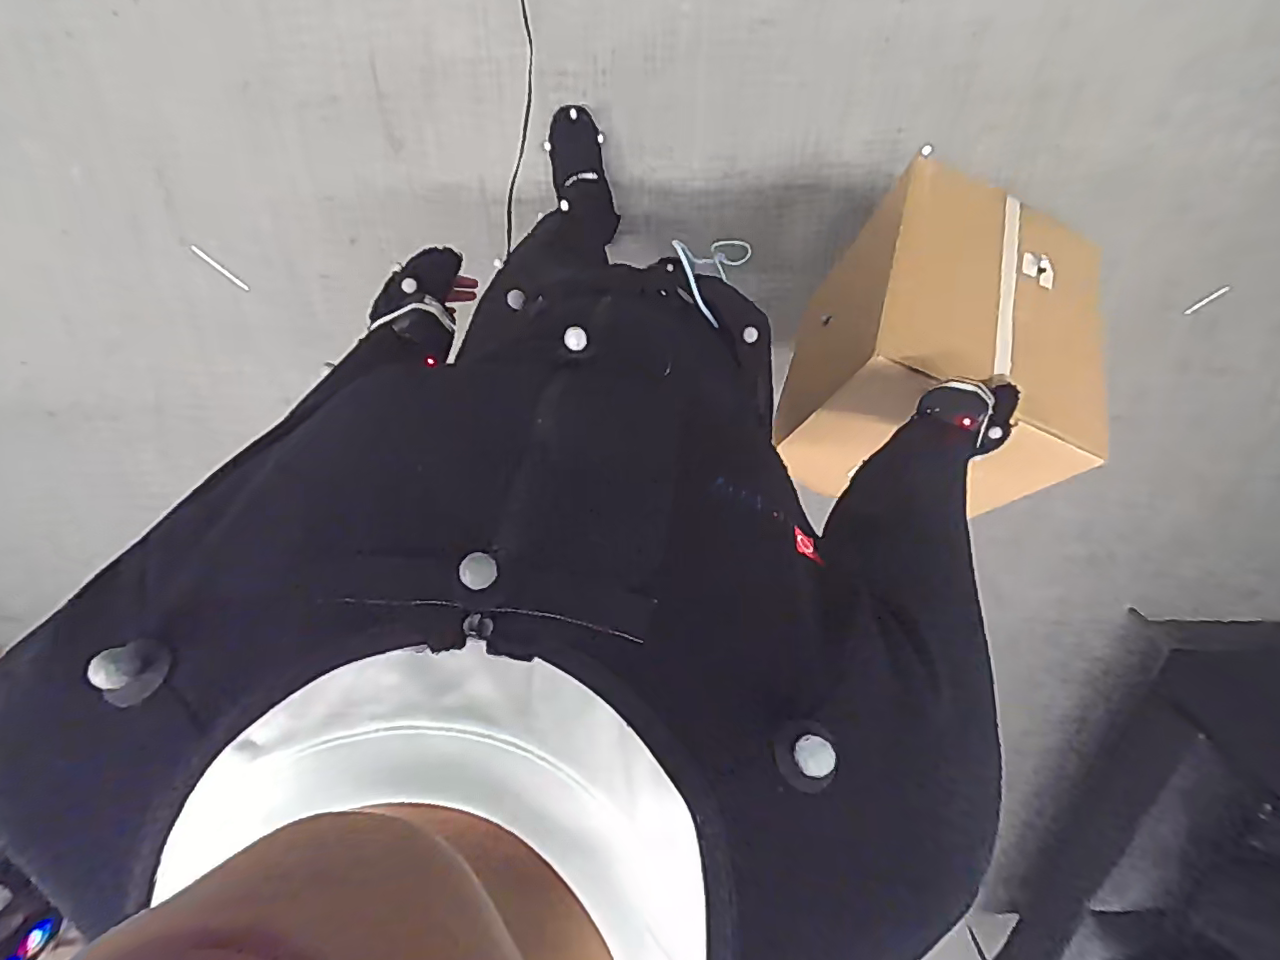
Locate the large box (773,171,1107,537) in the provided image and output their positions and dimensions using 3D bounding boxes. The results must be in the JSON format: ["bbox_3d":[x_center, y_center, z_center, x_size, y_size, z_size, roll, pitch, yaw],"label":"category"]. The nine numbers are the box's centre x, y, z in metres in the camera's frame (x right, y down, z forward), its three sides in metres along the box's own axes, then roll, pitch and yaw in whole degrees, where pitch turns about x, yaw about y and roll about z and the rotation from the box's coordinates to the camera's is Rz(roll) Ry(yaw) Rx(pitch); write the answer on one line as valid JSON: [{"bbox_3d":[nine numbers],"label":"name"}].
[{"bbox_3d":[0.447,-0.179,0.856,0.320,0.408,0.320,24,153,-3],"label":"large box"}]
